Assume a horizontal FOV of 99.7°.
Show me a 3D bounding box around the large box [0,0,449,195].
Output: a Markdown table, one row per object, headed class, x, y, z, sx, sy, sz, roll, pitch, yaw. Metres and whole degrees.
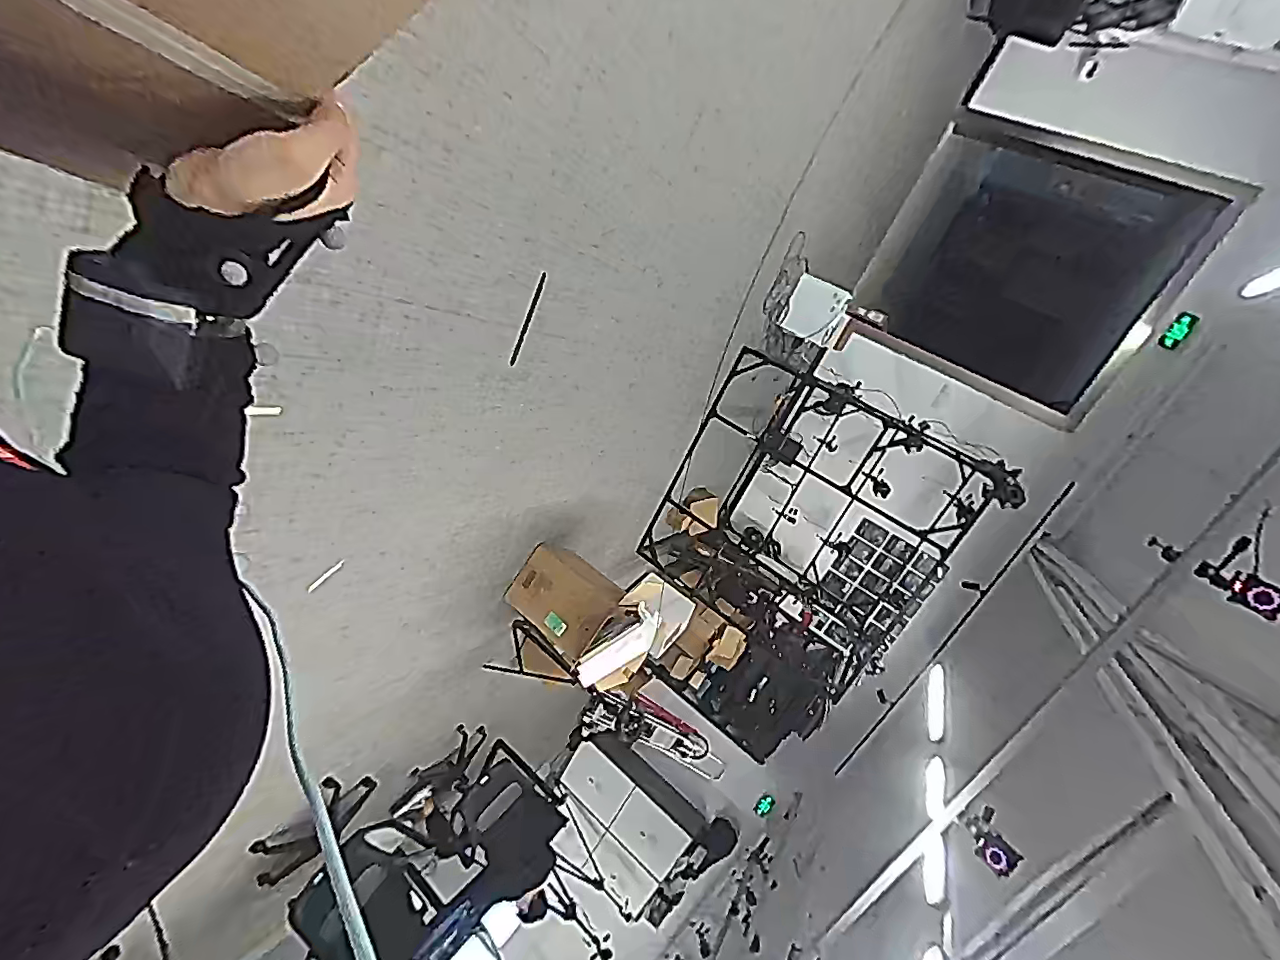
| class | x | y | z | sx | sy | sz | roll | pitch | yaw |
| --- | --- | --- | --- | --- | --- | --- | --- | --- | --- |
| large box | -0.274 | -0.362 | 0.131 | 0.408 | 0.320 | 0.320 | 1 | 82 | -58 |
